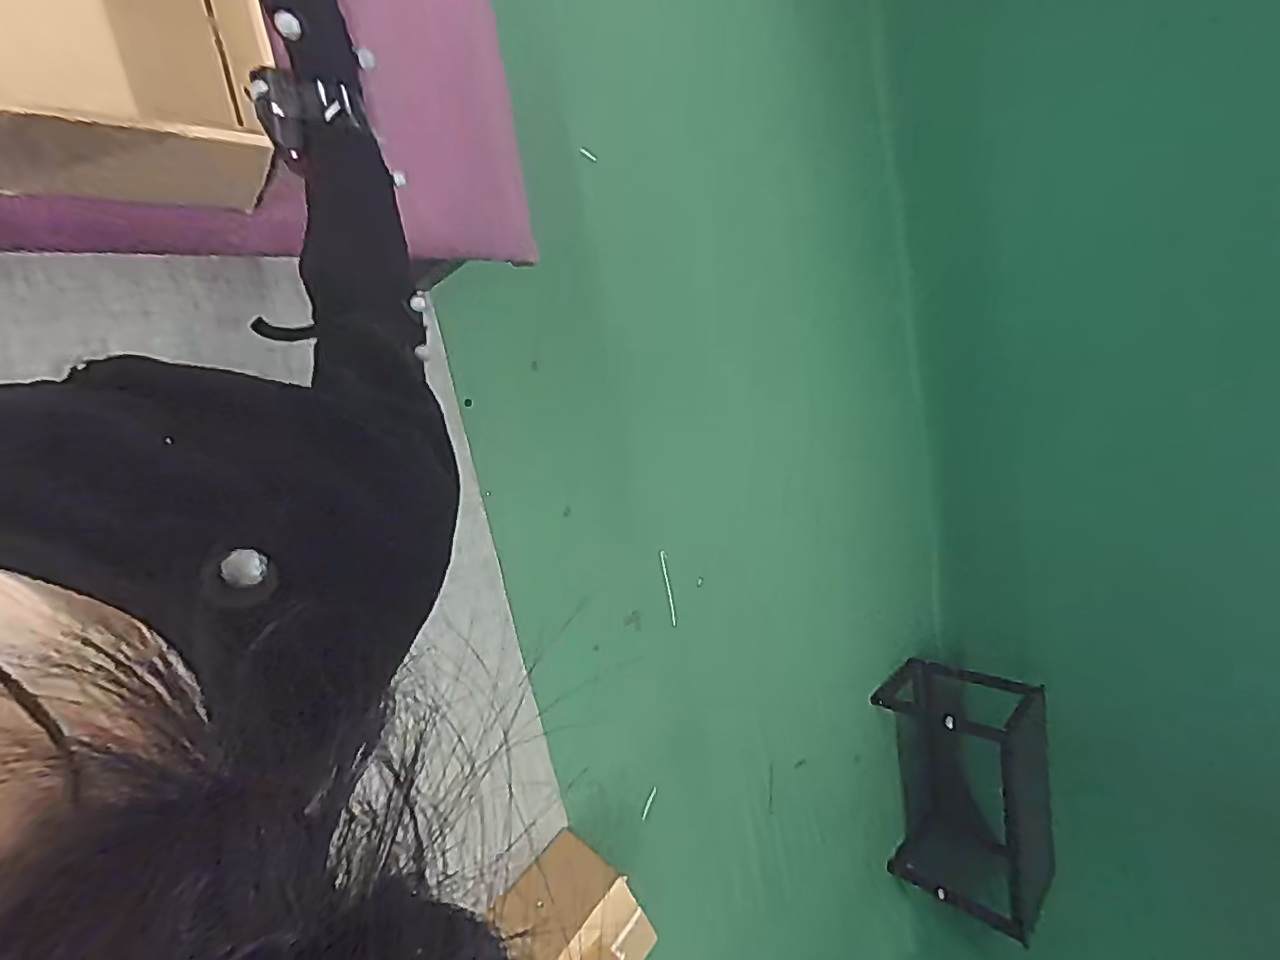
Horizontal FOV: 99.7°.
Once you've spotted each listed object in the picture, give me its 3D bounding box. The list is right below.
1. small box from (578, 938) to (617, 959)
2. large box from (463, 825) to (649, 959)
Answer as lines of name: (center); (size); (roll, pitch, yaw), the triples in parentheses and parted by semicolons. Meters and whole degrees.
small box: (-0.108, 1.403, 1.451); (0.179, 0.176, 0.168); (-32, 109, -36)
large box: (-0.251, 1.387, 1.652); (0.408, 0.320, 0.320); (-37, 115, -36)
